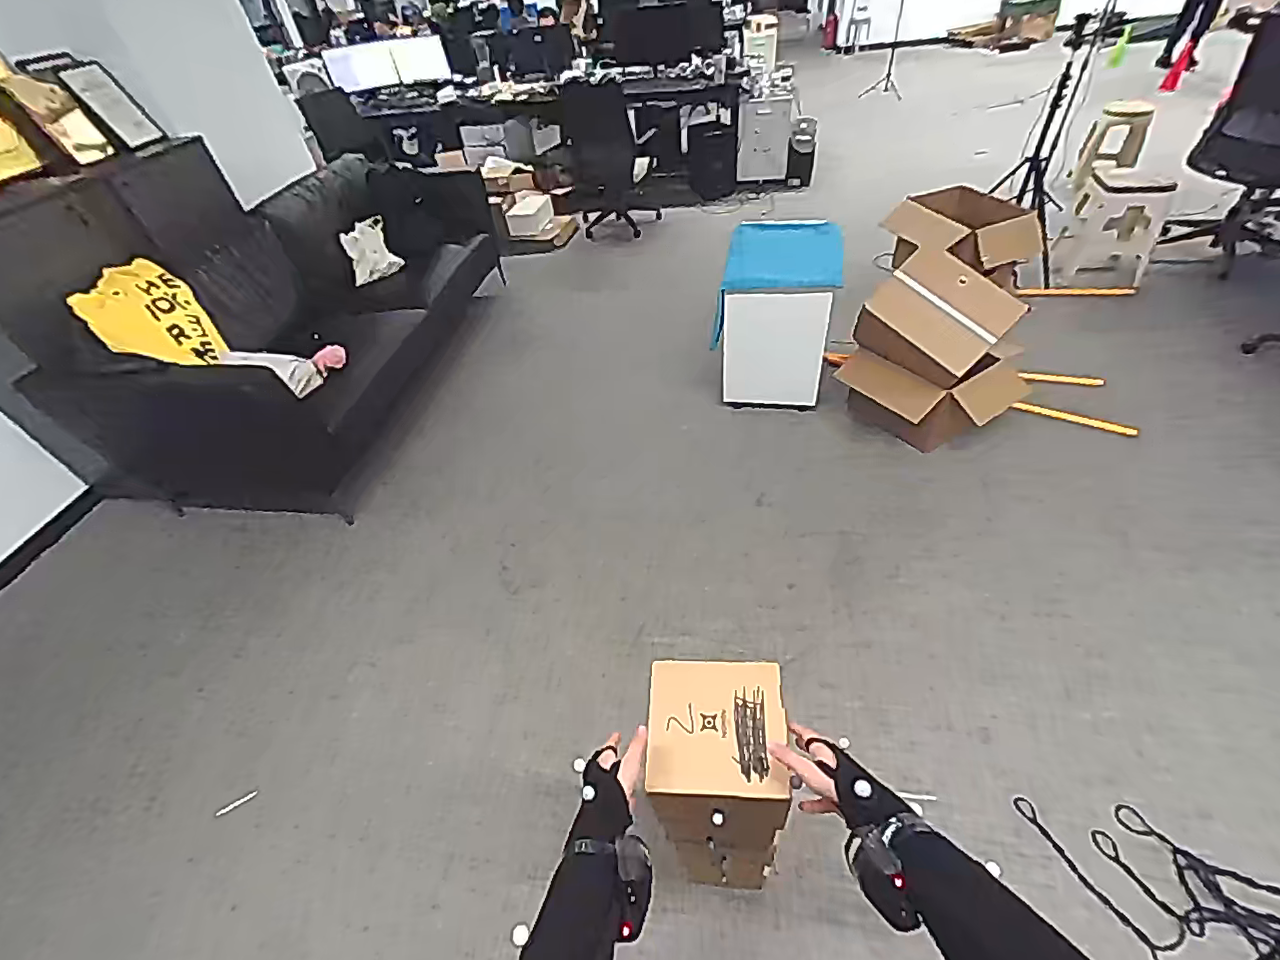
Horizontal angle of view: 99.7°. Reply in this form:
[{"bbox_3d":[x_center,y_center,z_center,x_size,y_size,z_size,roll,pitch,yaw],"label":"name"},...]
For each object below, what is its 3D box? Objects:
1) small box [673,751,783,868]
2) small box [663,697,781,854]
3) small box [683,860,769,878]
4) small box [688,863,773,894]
[{"bbox_3d":[0.156,0.583,0.976,0.179,0.176,0.168,-1,45,9],"label":"small box"},{"bbox_3d":[0.130,0.470,0.862,0.168,0.176,0.179,-2,46,9],"label":"small box"},{"bbox_3d":[0.173,0.689,1.100,0.179,0.176,0.168,1,46,10],"label":"small box"},{"bbox_3d":[0.203,0.806,1.212,0.179,0.176,0.168,1,45,10],"label":"small box"}]
